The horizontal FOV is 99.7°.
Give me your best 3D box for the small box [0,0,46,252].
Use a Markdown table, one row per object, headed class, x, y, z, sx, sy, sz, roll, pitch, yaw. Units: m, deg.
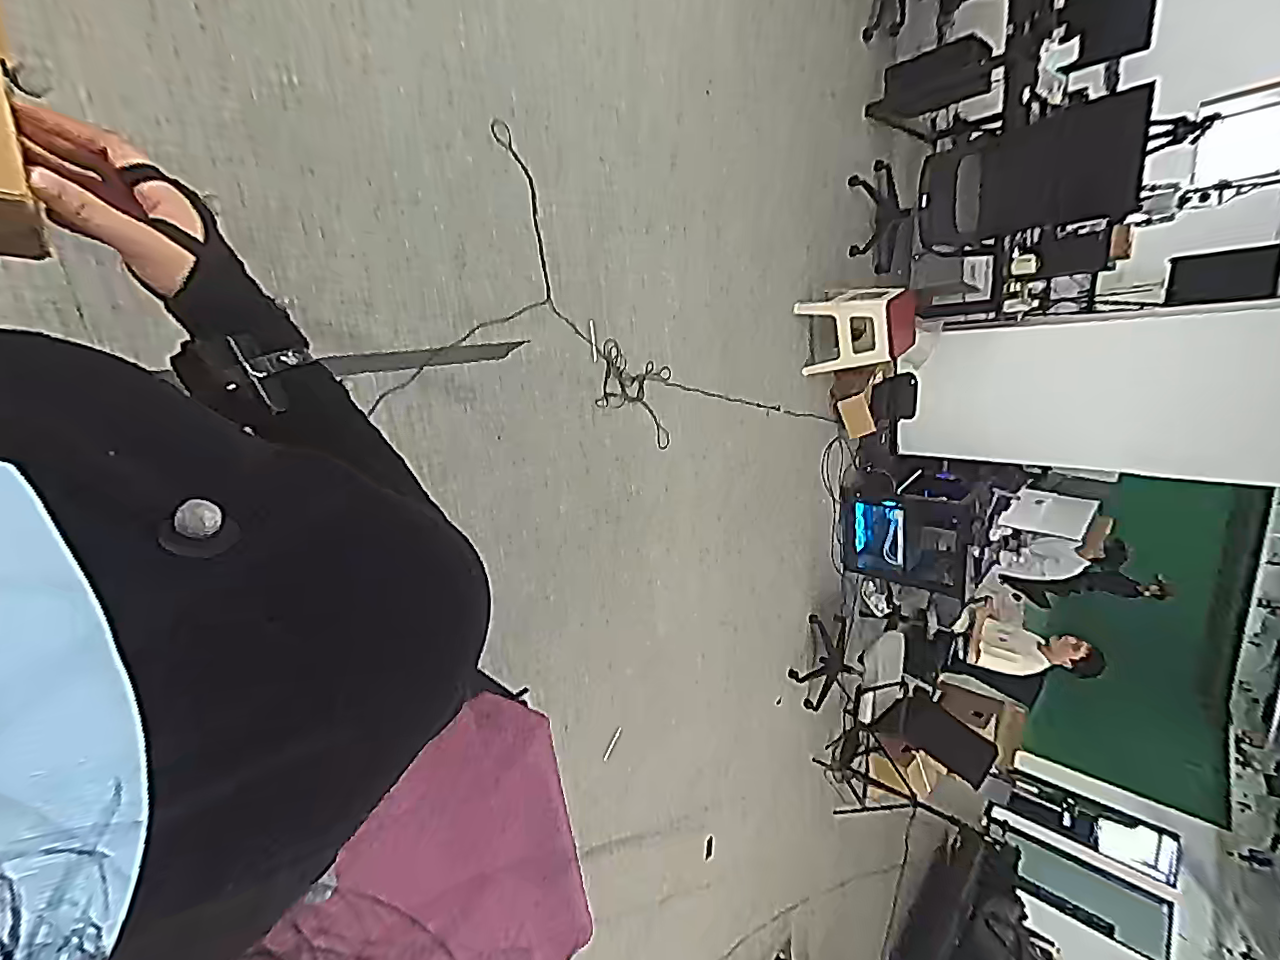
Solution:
| class | x | y | z | sx | sy | sz | roll | pitch | yaw |
| --- | --- | --- | --- | --- | --- | --- | --- | --- | --- |
| small box | -0.460 | -0.242 | 0.293 | 0.168 | 0.176 | 0.179 | -11 | 104 | -44 |
